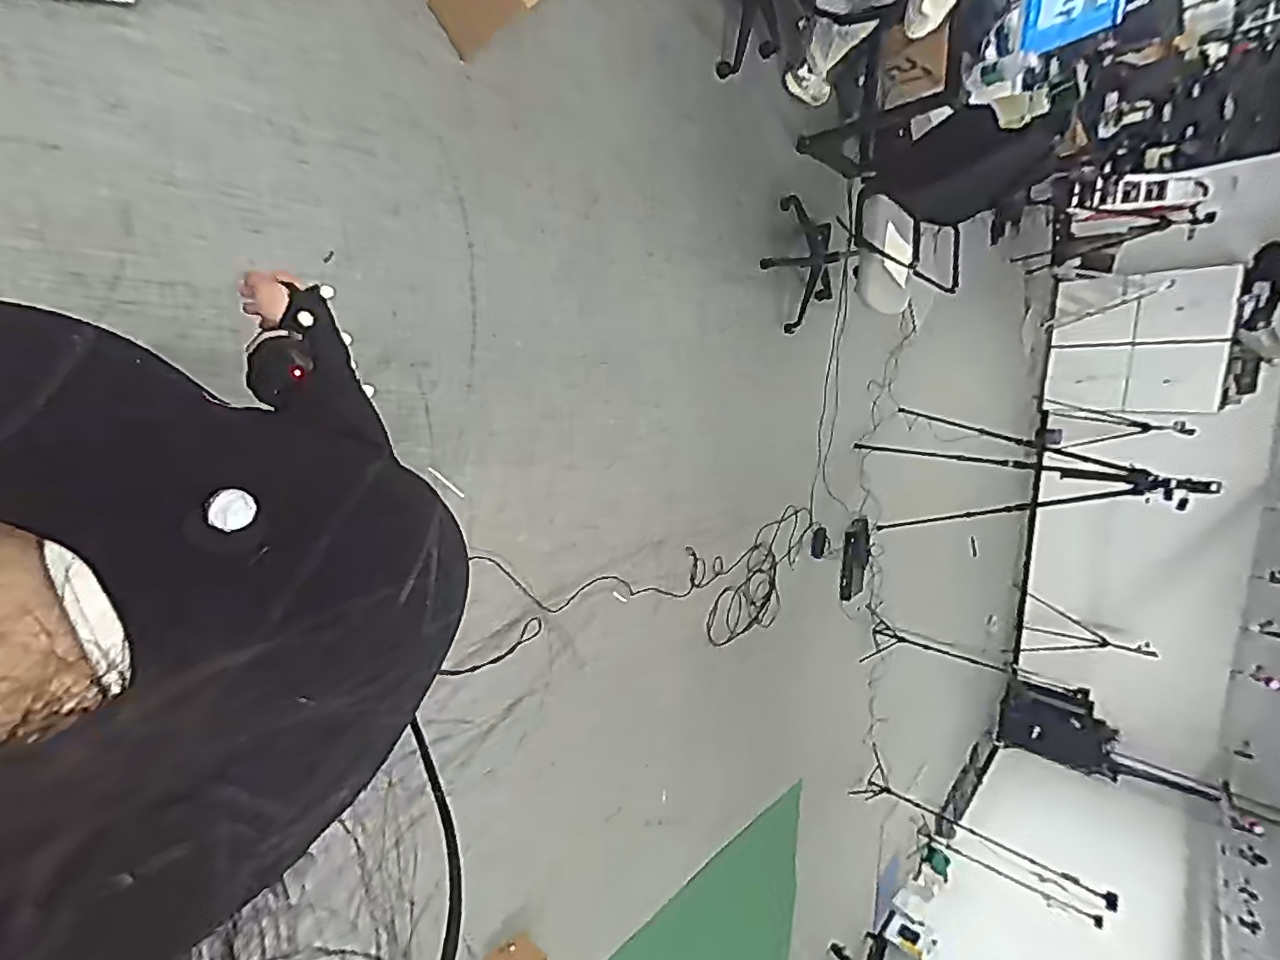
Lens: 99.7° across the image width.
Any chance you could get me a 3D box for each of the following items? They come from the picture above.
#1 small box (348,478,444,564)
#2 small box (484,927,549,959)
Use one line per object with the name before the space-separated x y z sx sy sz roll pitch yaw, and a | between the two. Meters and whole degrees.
small box | -0.645 0.099 1.425 0.168 0.176 0.179 -20 112 -42
small box | -0.439 1.756 1.912 0.168 0.176 0.179 -7 101 -45
